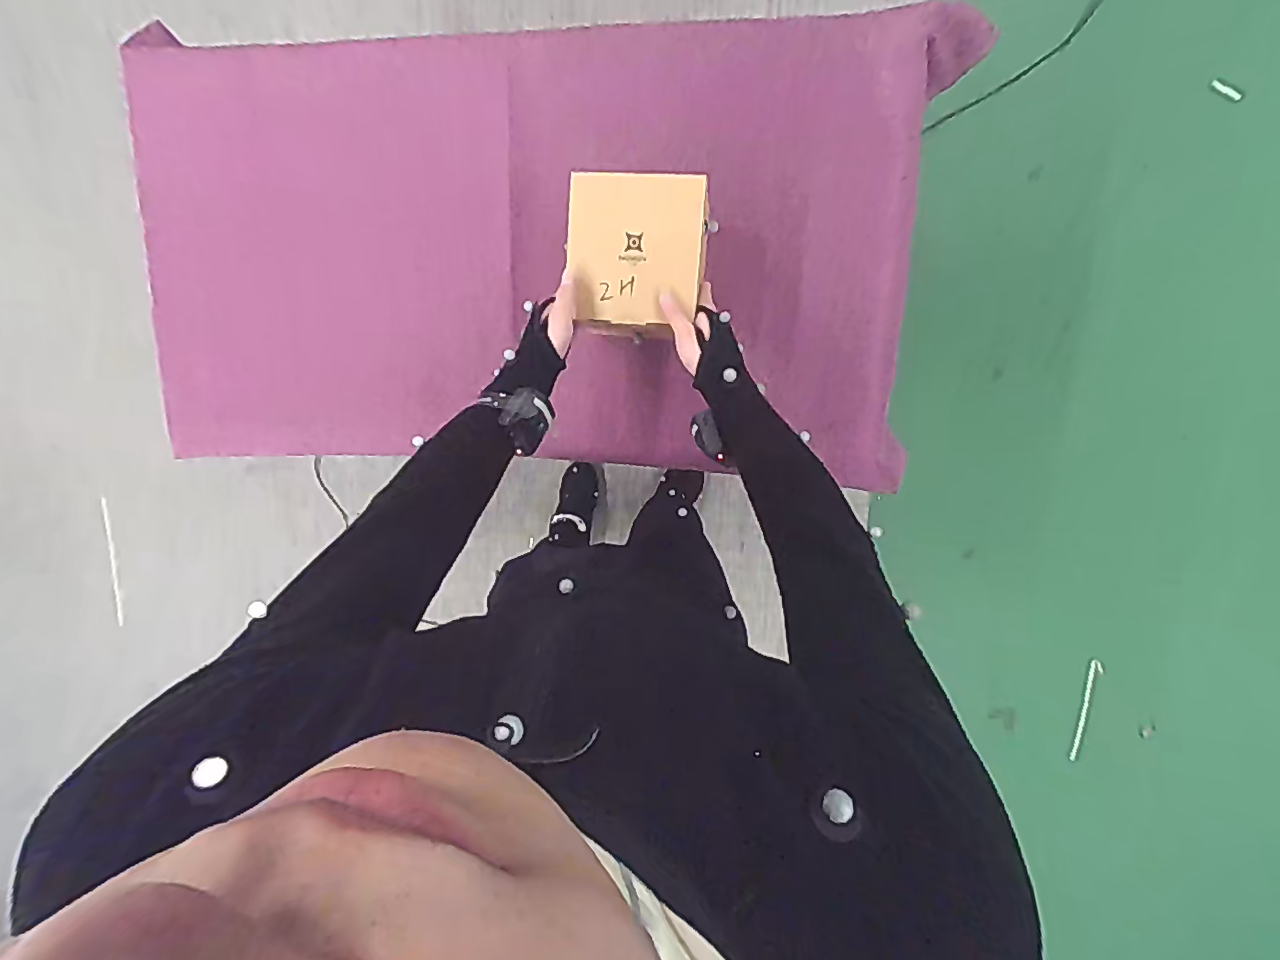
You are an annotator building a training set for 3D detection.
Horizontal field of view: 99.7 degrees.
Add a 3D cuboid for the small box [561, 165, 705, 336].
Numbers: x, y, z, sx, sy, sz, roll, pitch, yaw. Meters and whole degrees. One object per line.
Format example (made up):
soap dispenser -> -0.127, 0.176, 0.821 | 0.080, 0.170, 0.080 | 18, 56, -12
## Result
small box -> -0.002, -0.298, 0.731 | 0.168, 0.176, 0.179 | 5, 101, 7
